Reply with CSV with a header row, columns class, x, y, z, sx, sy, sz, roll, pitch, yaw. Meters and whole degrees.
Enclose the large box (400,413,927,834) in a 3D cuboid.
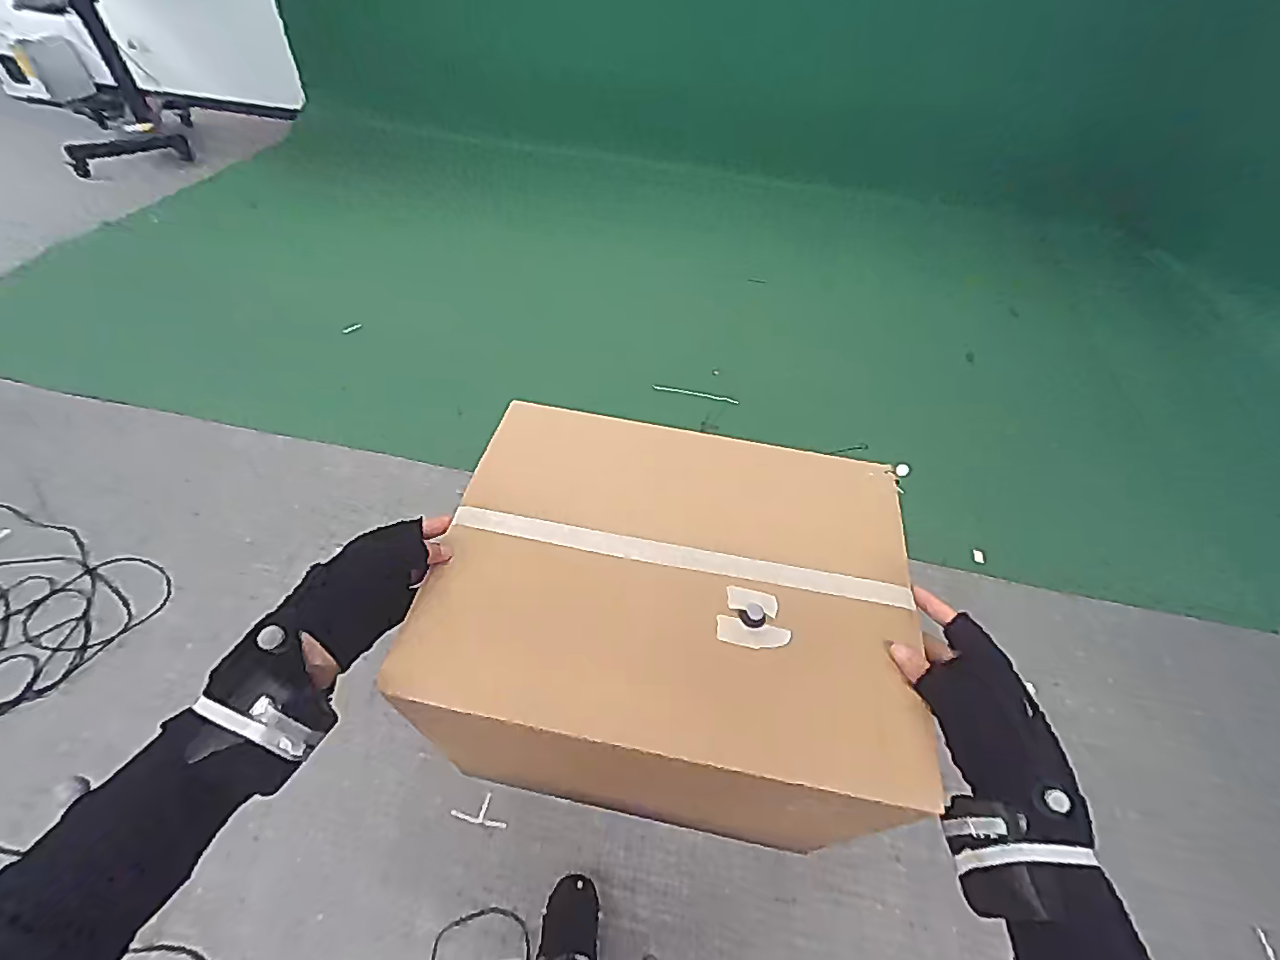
class,x,y,z,sx,sy,sz,roll,pitch,yaw
large box,0.026,0.164,0.604,0.408,0.320,0.320,10,52,4
